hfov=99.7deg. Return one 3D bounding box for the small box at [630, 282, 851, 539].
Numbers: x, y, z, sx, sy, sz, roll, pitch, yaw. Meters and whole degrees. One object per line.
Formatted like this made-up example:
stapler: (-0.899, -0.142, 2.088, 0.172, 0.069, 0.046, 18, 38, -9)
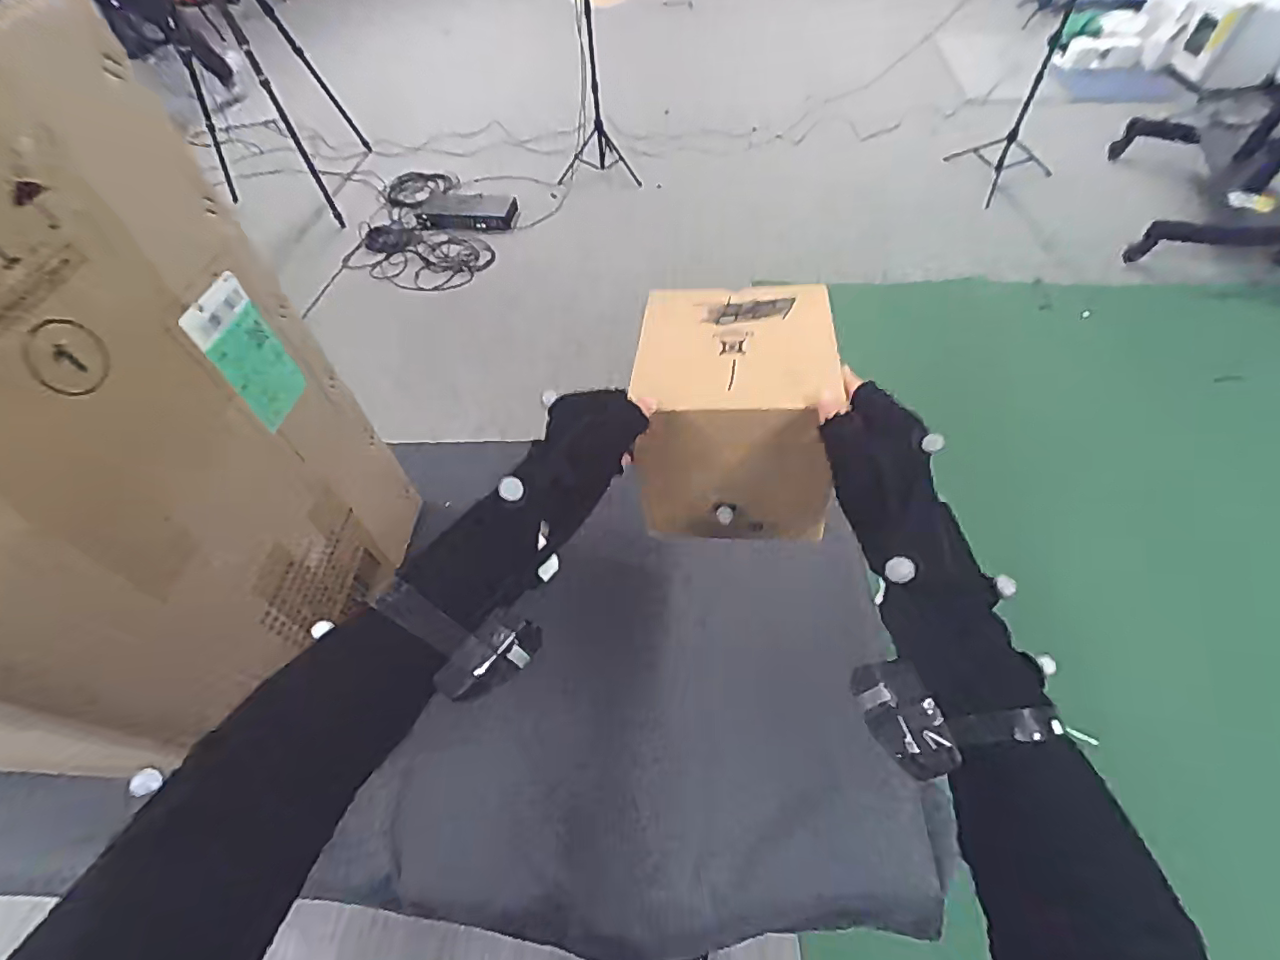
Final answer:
small box: (0.091, -0.065, 0.512, 0.168, 0.176, 0.179, 1, 49, 10)
